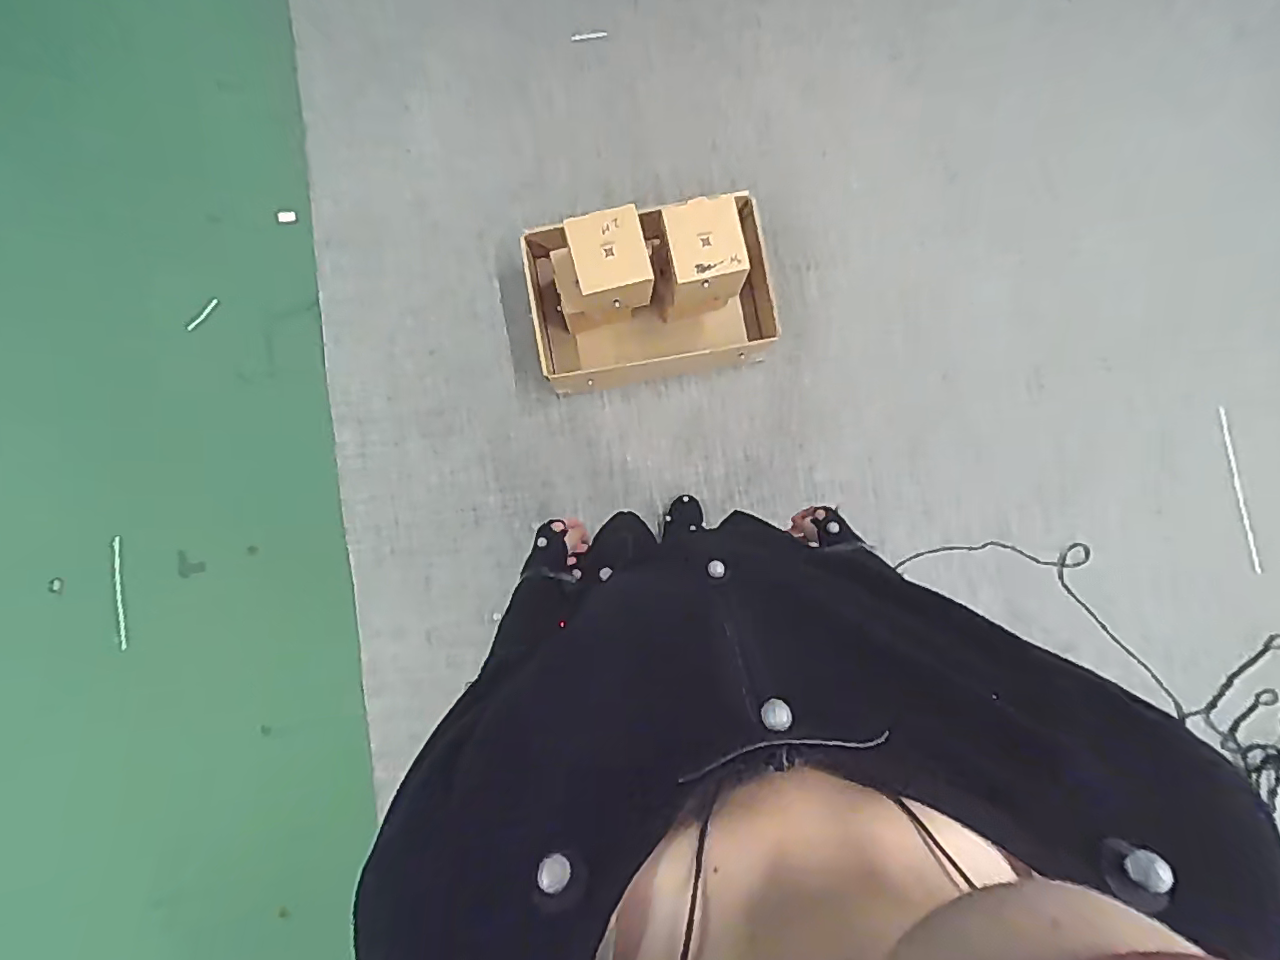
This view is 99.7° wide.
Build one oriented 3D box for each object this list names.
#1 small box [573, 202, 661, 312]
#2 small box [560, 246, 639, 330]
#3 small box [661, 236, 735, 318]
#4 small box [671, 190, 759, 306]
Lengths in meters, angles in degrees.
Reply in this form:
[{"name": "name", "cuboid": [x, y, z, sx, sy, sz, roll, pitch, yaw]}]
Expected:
[{"name": "small box", "cuboid": [-0.051, -0.510, 1.270, 0.168, 0.176, 0.179, -14, 89, -2]}, {"name": "small box", "cuboid": [-0.101, -0.513, 1.433, 0.179, 0.176, 0.168, -13, 89, -1]}, {"name": "small box", "cuboid": [0.161, -0.548, 1.429, 0.179, 0.176, 0.168, -16, 88, 1]}, {"name": "small box", "cuboid": [0.167, -0.533, 1.264, 0.168, 0.176, 0.179, -12, 87, 3]}]
